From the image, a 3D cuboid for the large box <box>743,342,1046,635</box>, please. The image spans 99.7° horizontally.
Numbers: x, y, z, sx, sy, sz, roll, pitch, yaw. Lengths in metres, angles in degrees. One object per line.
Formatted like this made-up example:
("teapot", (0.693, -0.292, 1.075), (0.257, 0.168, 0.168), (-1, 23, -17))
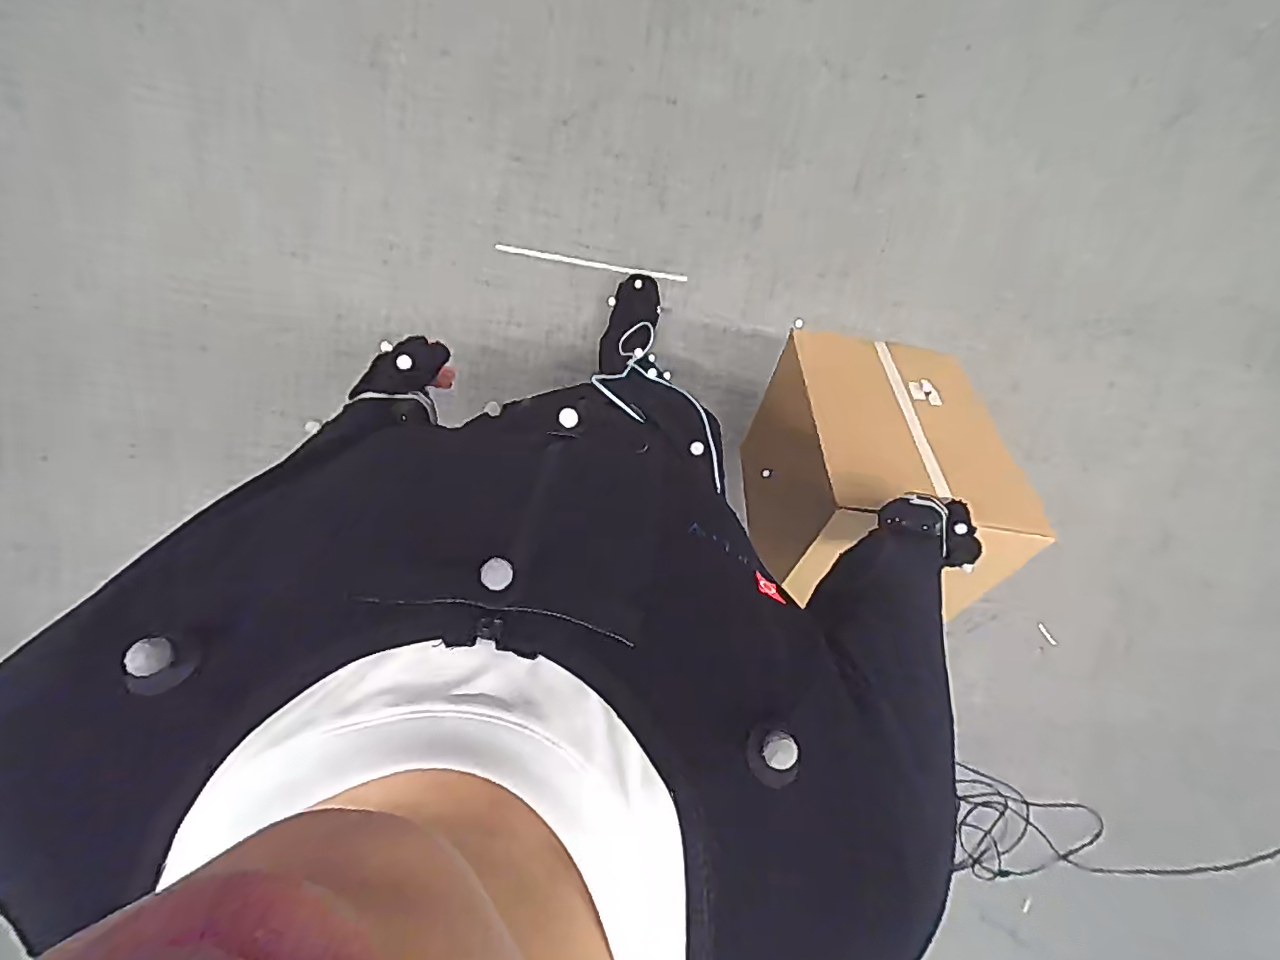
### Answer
("large box", (0.387, 0.016, 0.959), (0.320, 0.408, 0.320), (9, 137, -6))
